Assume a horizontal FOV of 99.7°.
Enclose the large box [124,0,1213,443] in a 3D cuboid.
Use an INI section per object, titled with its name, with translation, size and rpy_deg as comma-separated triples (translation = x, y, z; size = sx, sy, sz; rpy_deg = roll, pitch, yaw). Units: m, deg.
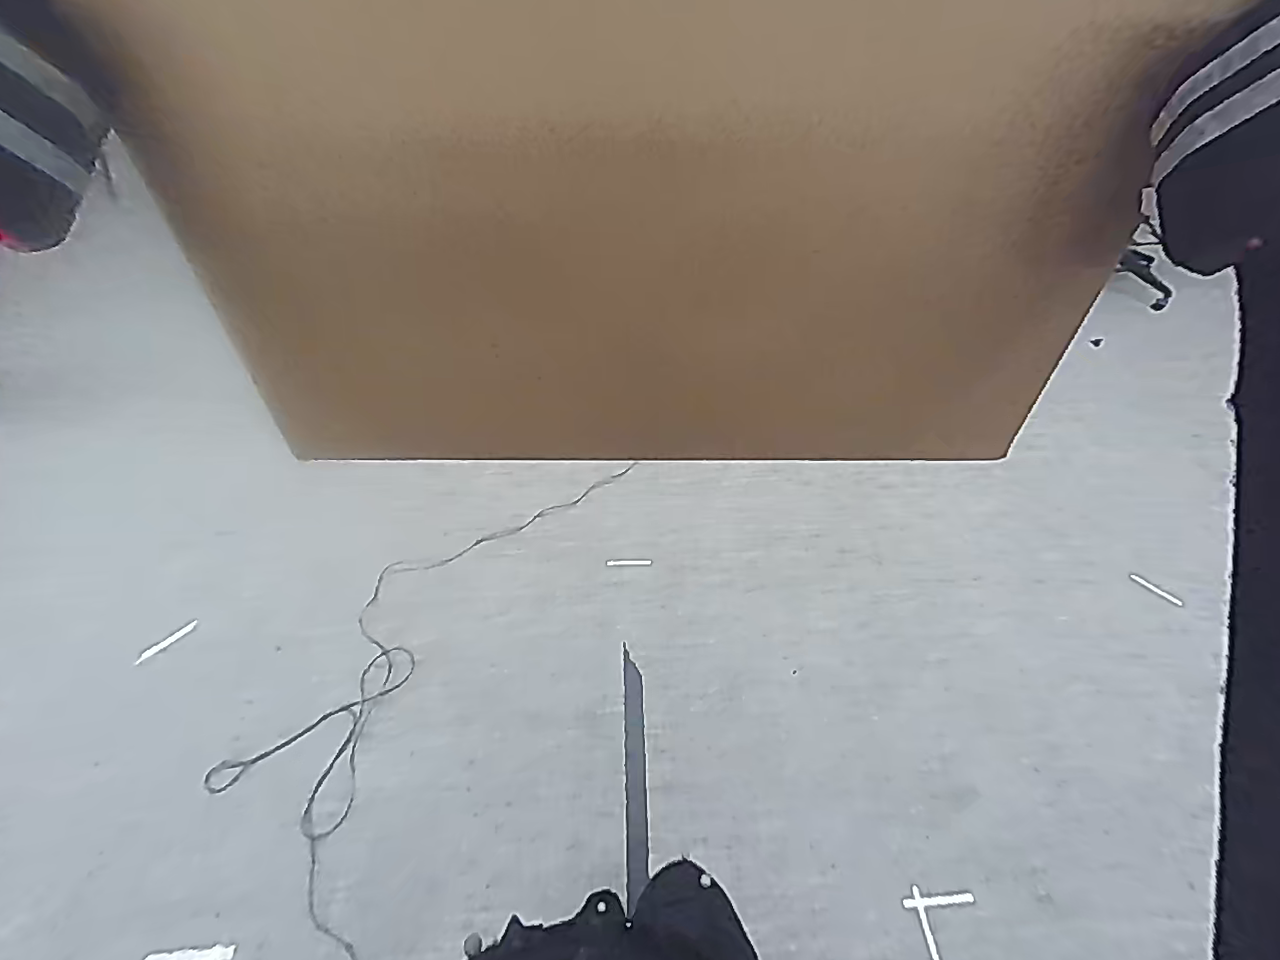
[large box]
translation = 0.009, -0.231, 0.336
size = 0.408, 0.320, 0.320
rpy_deg = 0, 42, -1
